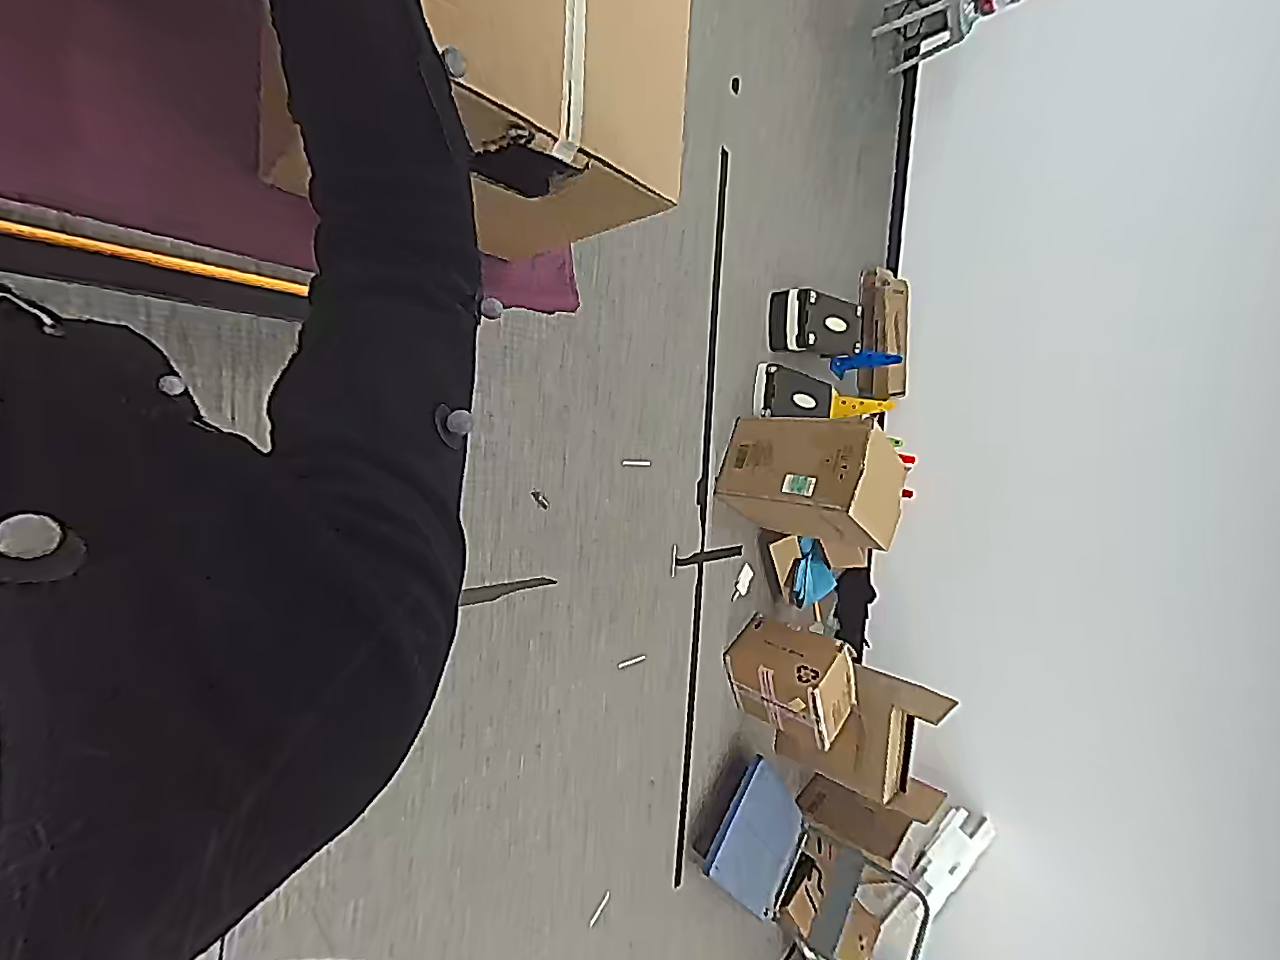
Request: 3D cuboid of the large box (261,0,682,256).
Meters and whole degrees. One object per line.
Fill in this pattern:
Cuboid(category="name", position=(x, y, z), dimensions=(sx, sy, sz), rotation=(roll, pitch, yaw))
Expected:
Cuboid(category="large box", position=(-0.170, -0.495, 0.548), dimensions=(0.320, 0.320, 0.408), rotation=(-2, 96, -48))
